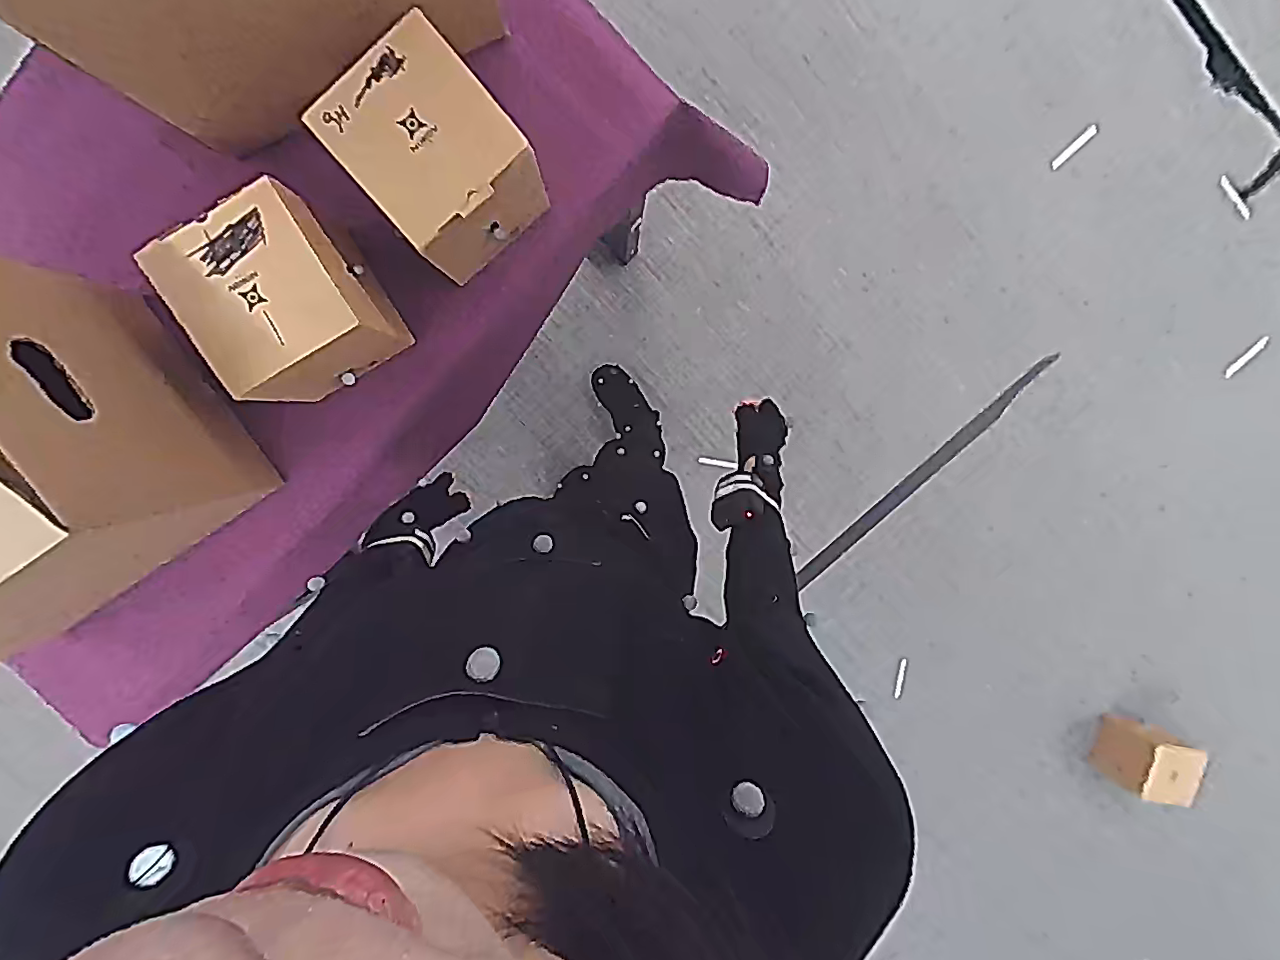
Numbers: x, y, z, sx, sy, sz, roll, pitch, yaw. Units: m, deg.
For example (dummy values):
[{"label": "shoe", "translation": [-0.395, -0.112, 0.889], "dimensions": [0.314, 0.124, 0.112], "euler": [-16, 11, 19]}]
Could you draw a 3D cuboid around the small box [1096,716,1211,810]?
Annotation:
[{"label": "small box", "translation": [1.518, 0.837, 1.611], "dimensions": [0.168, 0.176, 0.179], "euler": [10, 95, -5]}]
